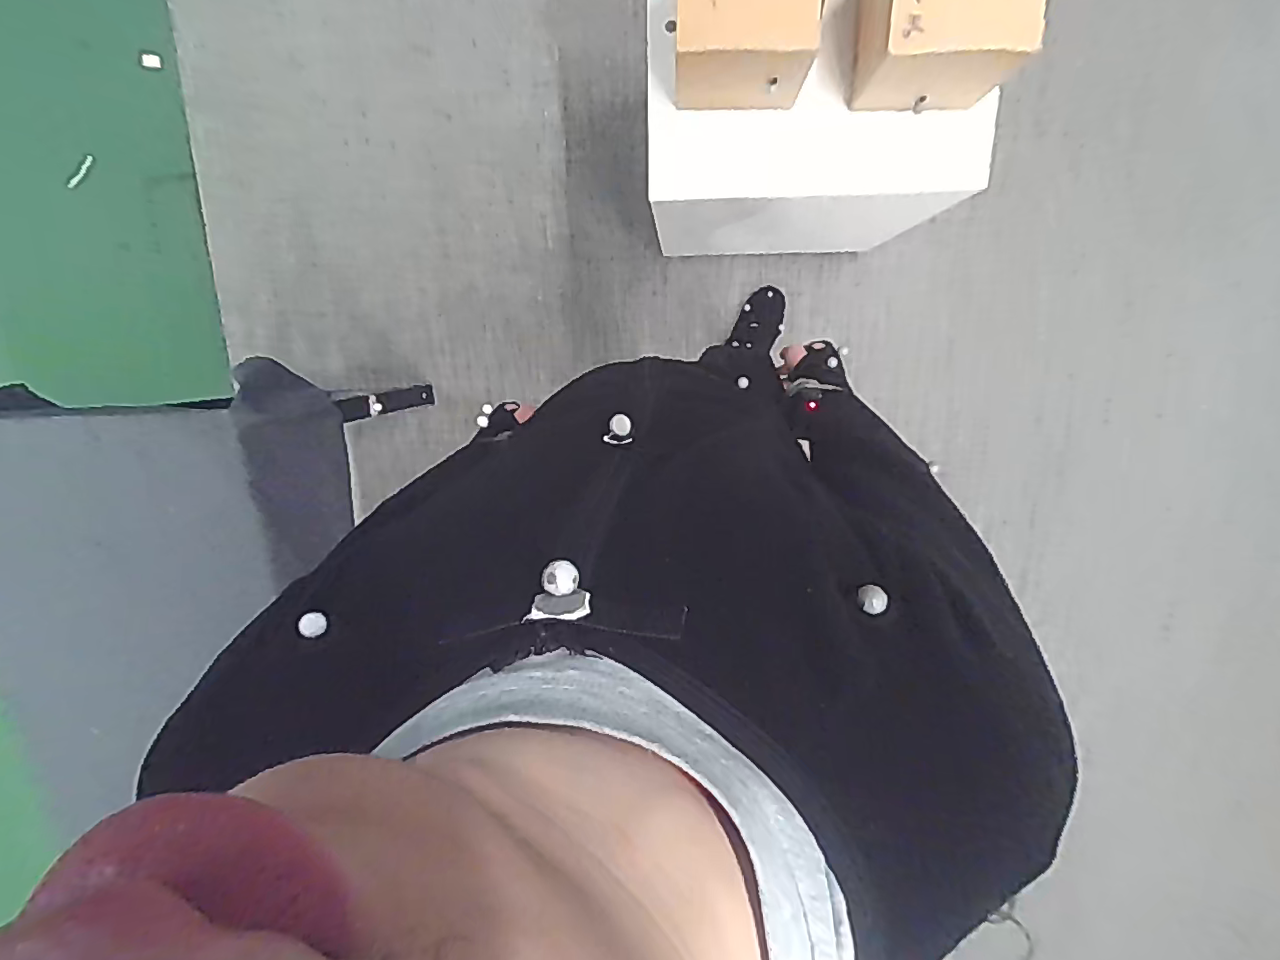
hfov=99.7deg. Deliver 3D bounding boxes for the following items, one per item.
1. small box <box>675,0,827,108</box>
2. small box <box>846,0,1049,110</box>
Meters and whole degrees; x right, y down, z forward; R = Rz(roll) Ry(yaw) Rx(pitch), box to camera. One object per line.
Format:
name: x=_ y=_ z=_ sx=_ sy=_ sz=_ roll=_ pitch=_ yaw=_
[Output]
small box: x=0.136 y=-0.612 z=0.704 sx=0.179 sy=0.176 sz=0.168 roll=1 pitch=103 yaw=4
small box: x=0.385 y=-0.598 z=0.690 sx=0.179 sy=0.176 sz=0.168 roll=2 pitch=104 yaw=3
